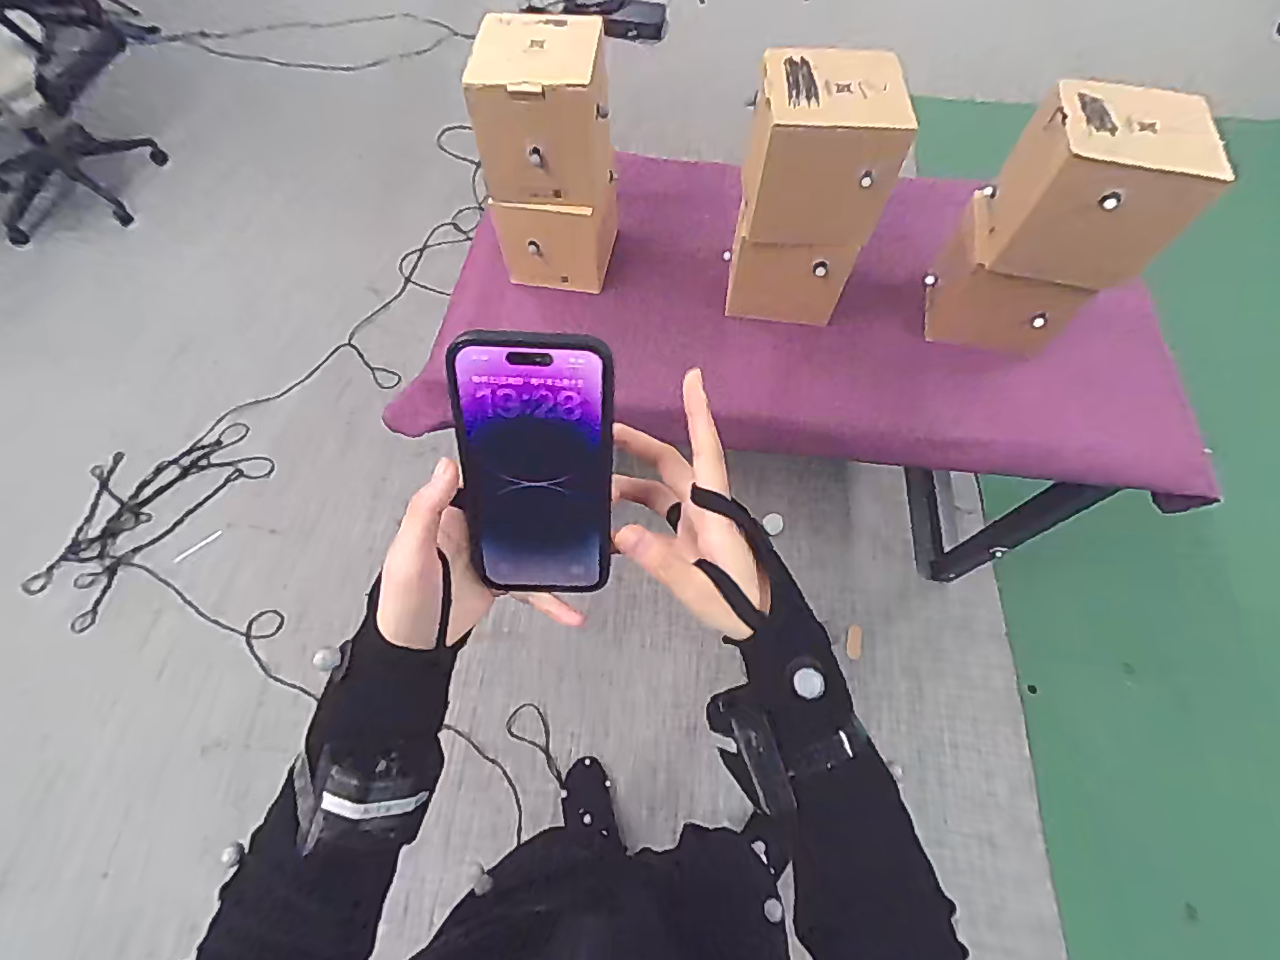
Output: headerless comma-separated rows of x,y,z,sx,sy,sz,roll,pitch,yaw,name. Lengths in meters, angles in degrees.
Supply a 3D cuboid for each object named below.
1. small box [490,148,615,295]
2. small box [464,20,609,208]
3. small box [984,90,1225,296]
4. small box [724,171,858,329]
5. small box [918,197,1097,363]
-0.138,-0.447,0.935,0.168,0.176,0.179,9,64,5,small box
-0.137,-0.527,0.792,0.168,0.176,0.179,4,64,2,small box
0.583,-0.370,0.712,0.179,0.176,0.168,14,64,6,small box
0.244,-0.373,0.896,0.179,0.176,0.168,8,64,4,small box
0.577,-0.312,0.866,0.179,0.176,0.168,14,64,7,small box
